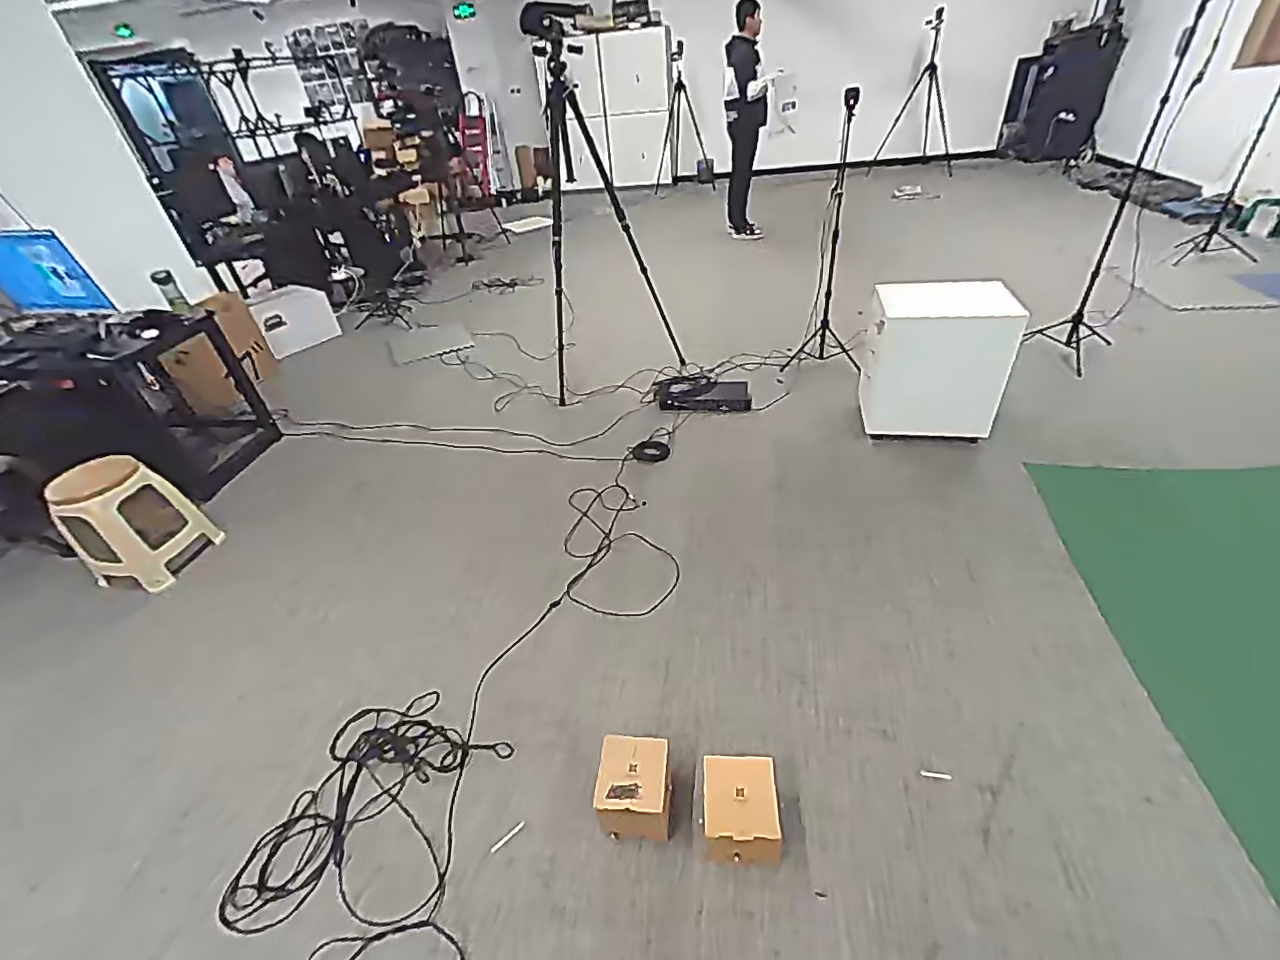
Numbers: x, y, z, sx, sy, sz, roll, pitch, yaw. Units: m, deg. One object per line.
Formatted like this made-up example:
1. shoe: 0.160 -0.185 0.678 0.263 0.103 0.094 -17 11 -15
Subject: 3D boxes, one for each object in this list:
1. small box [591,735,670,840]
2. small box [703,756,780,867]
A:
1. small box: -0.015 0.763 1.340 0.168 0.176 0.179 0 37 9
2. small box: 0.232 0.783 1.281 0.168 0.176 0.179 -2 39 7
